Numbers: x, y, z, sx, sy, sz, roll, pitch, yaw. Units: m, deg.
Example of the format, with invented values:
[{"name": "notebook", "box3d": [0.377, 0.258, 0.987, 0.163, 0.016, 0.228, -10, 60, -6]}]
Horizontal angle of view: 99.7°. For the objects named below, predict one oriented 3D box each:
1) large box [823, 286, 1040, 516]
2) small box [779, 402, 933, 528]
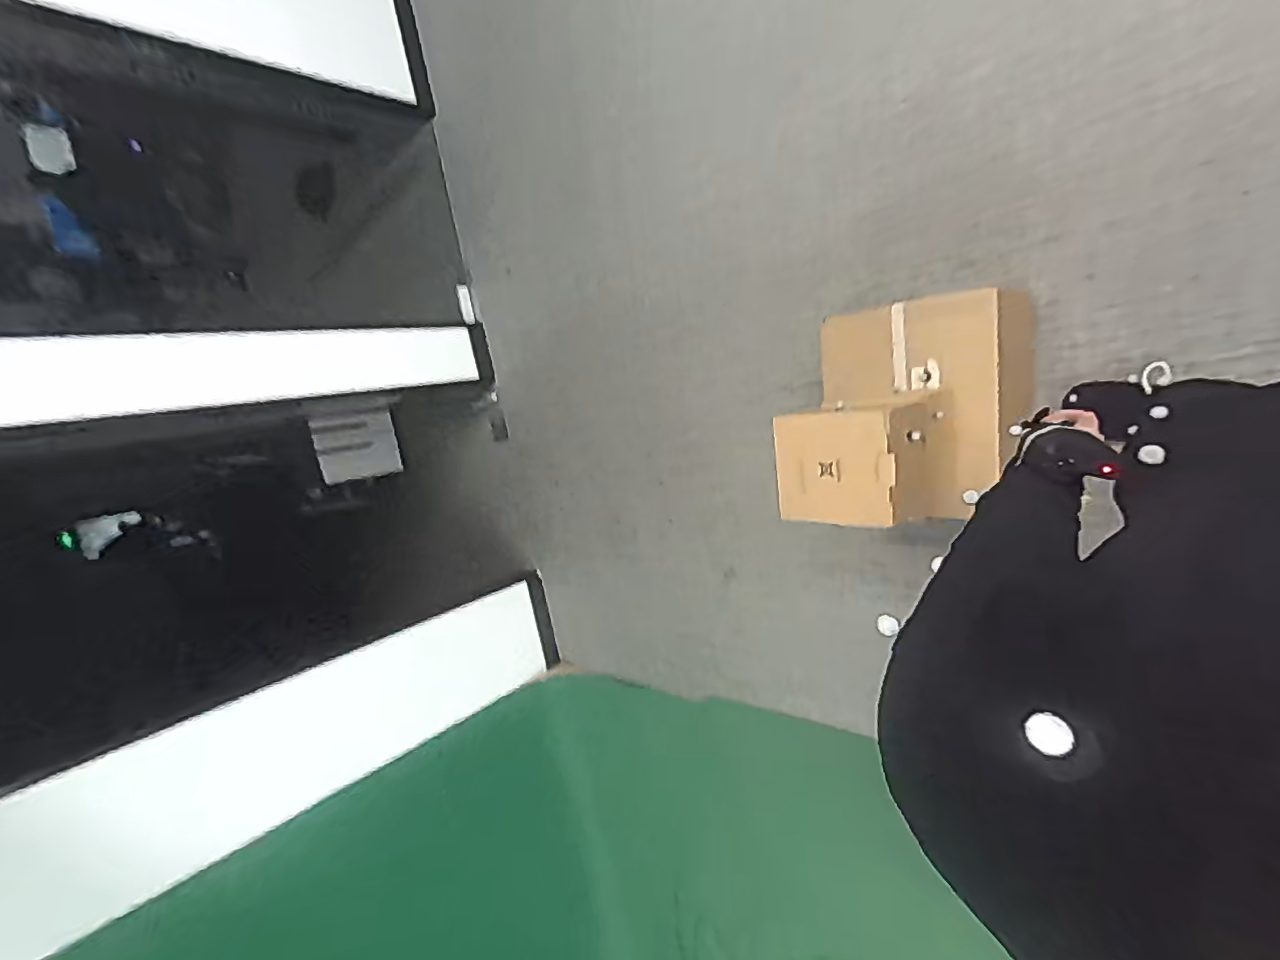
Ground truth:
[{"name": "large box", "box3d": [0.613, -0.157, 1.128, 0.320, 0.320, 0.408, 1, 102, 44]}, {"name": "small box", "box3d": [0.343, -0.029, 0.846, 0.179, 0.176, 0.168, 1, 101, 46]}]
